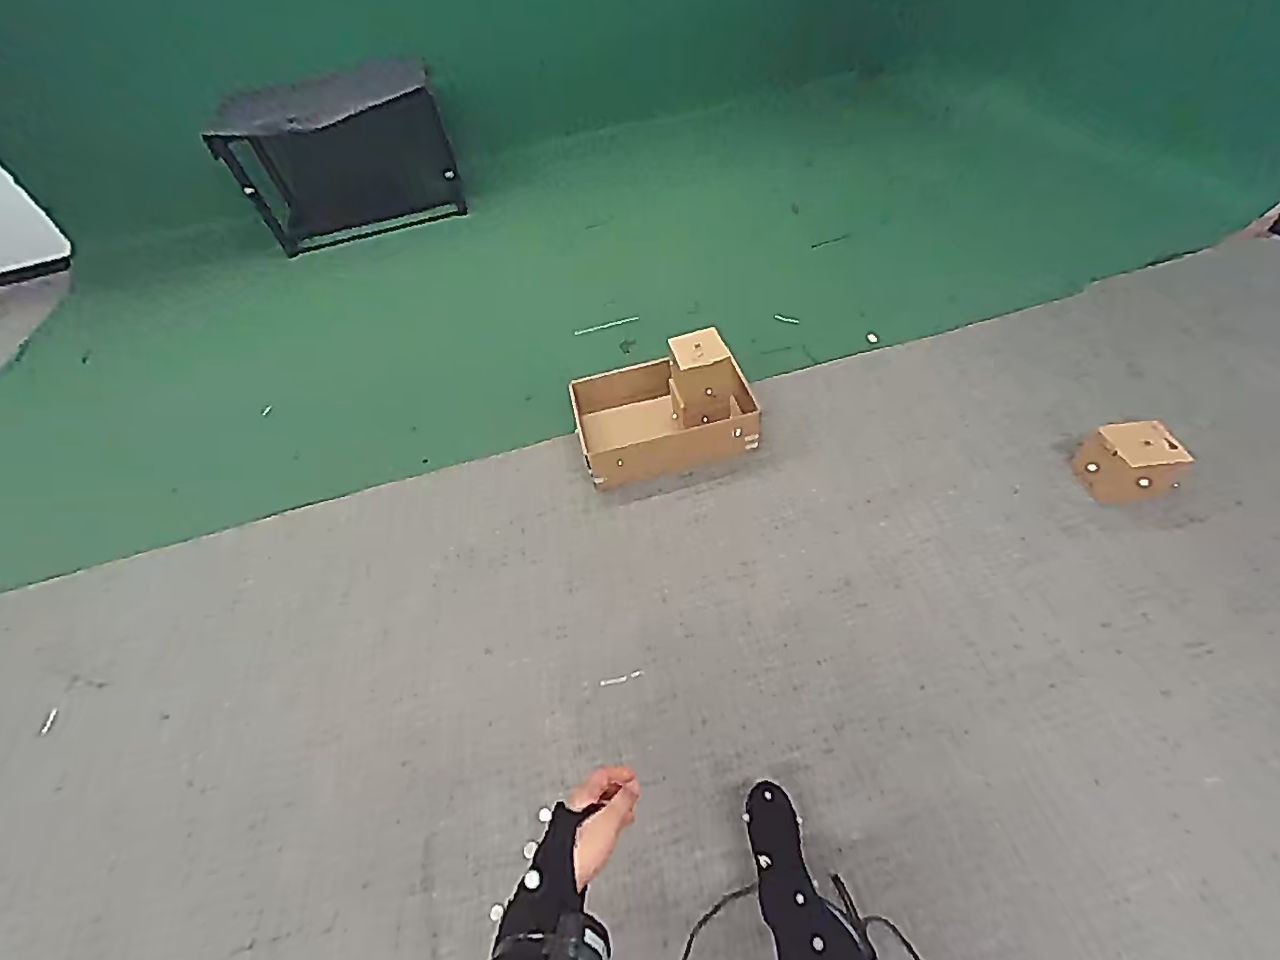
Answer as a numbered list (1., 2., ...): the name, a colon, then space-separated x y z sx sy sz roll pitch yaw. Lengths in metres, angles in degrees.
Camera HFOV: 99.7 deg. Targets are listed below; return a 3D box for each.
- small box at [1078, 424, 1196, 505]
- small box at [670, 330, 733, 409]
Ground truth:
1. small box: 1.449 -0.040 1.598 0.179 0.176 0.168 -7 49 5
2. small box: 0.204 -0.365 1.802 0.168 0.176 0.179 -16 50 -2
